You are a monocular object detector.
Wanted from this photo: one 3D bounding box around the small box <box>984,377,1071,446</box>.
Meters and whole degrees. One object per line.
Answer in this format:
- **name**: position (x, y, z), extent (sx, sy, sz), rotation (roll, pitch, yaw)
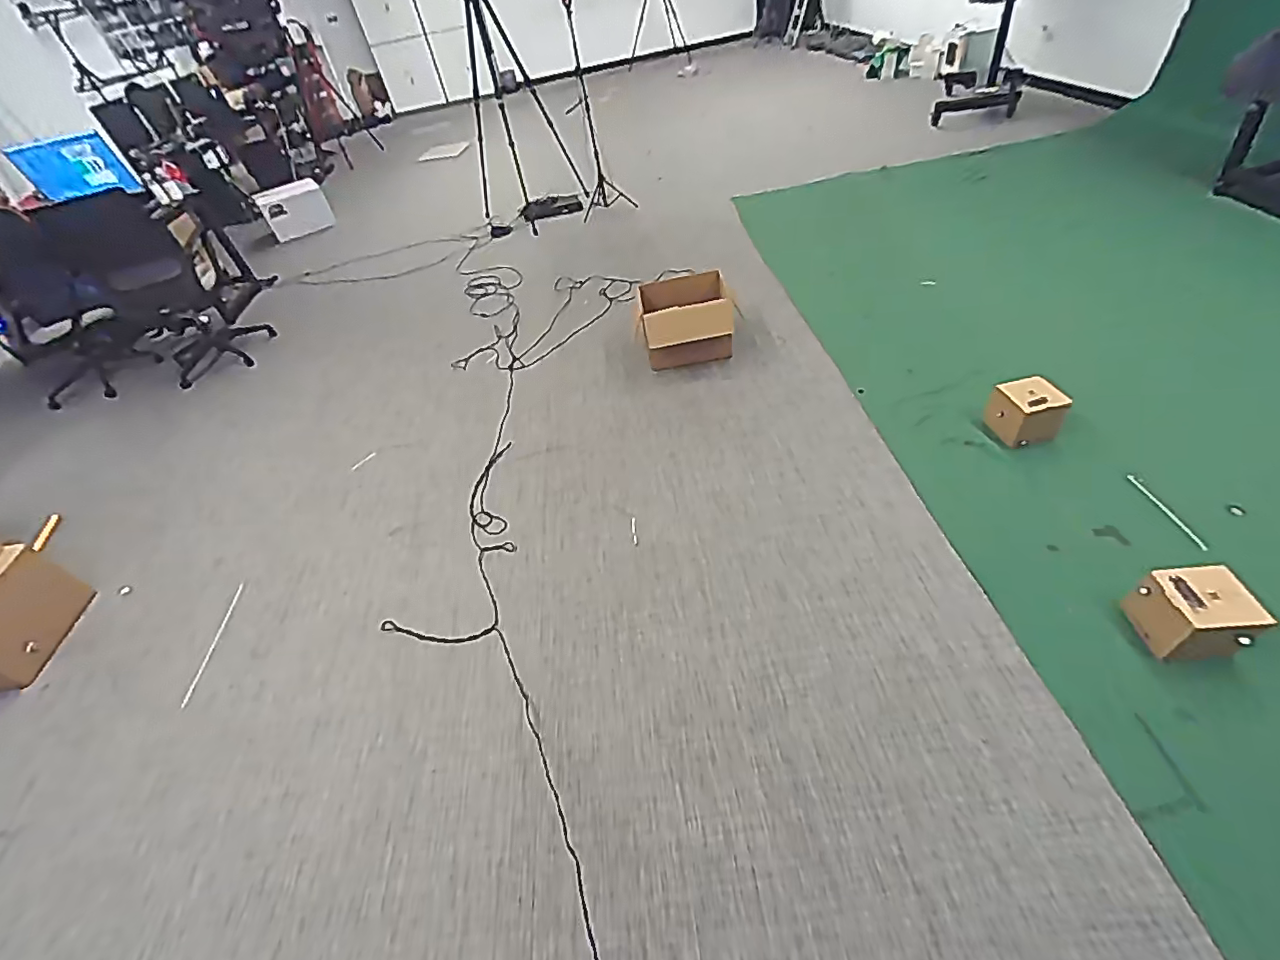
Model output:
- **small box**: position (1.384, -0.239, 1.944), extent (0.168, 0.176, 0.179), rotation (-12, 43, 0)
